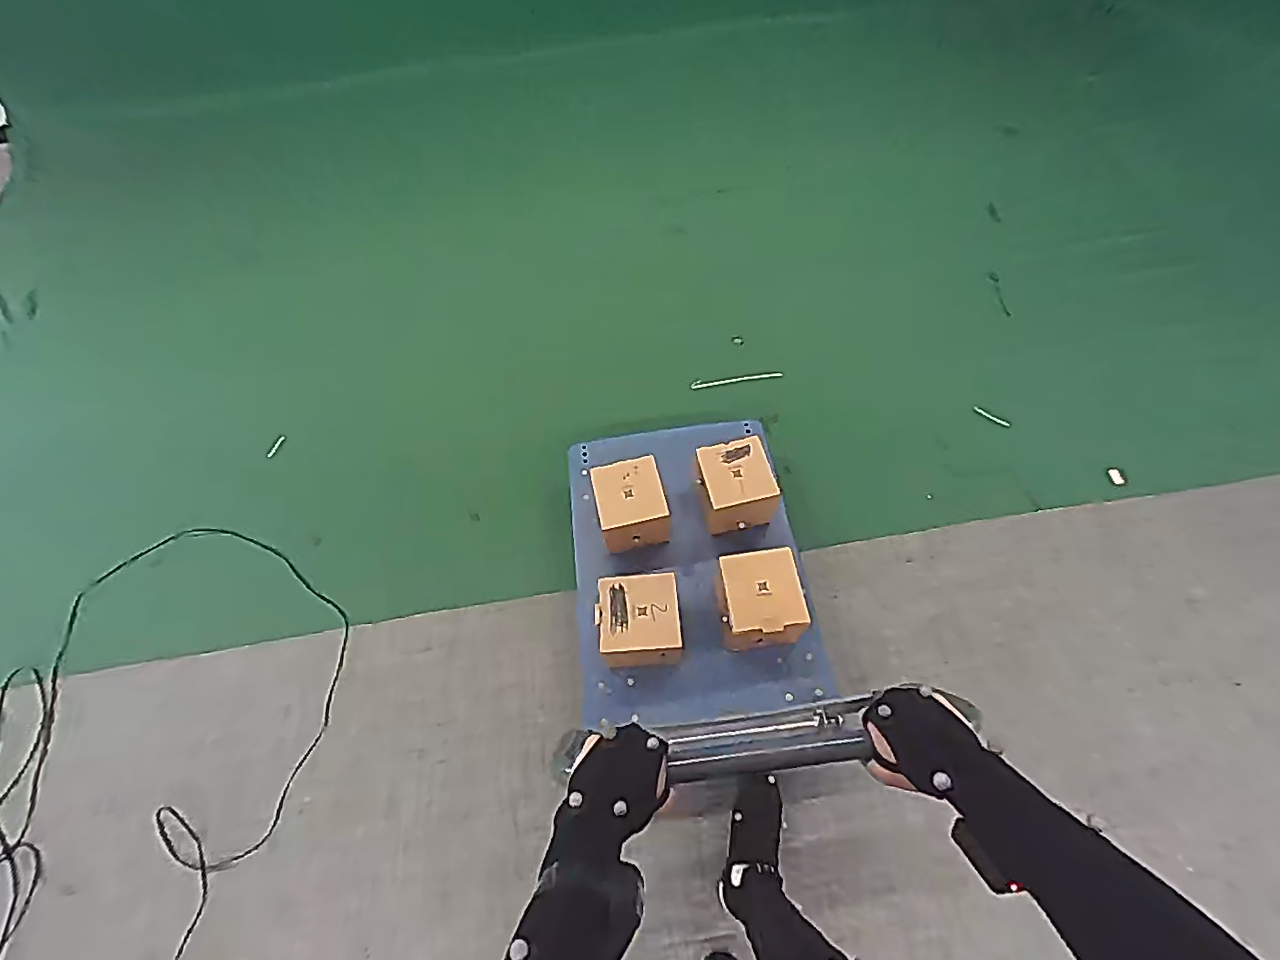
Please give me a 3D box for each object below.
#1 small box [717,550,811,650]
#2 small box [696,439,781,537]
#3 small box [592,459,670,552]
[{"bbox_3d":[0.276,0.281,1.250,0.168,0.176,0.179,-8,61,0],"label":"small box"},{"bbox_3d":[0.244,0.024,1.393,0.168,0.176,0.179,-12,62,-2],"label":"small box"},{"bbox_3d":[-0.021,0.073,1.385,0.168,0.176,0.179,-12,61,-4],"label":"small box"}]
